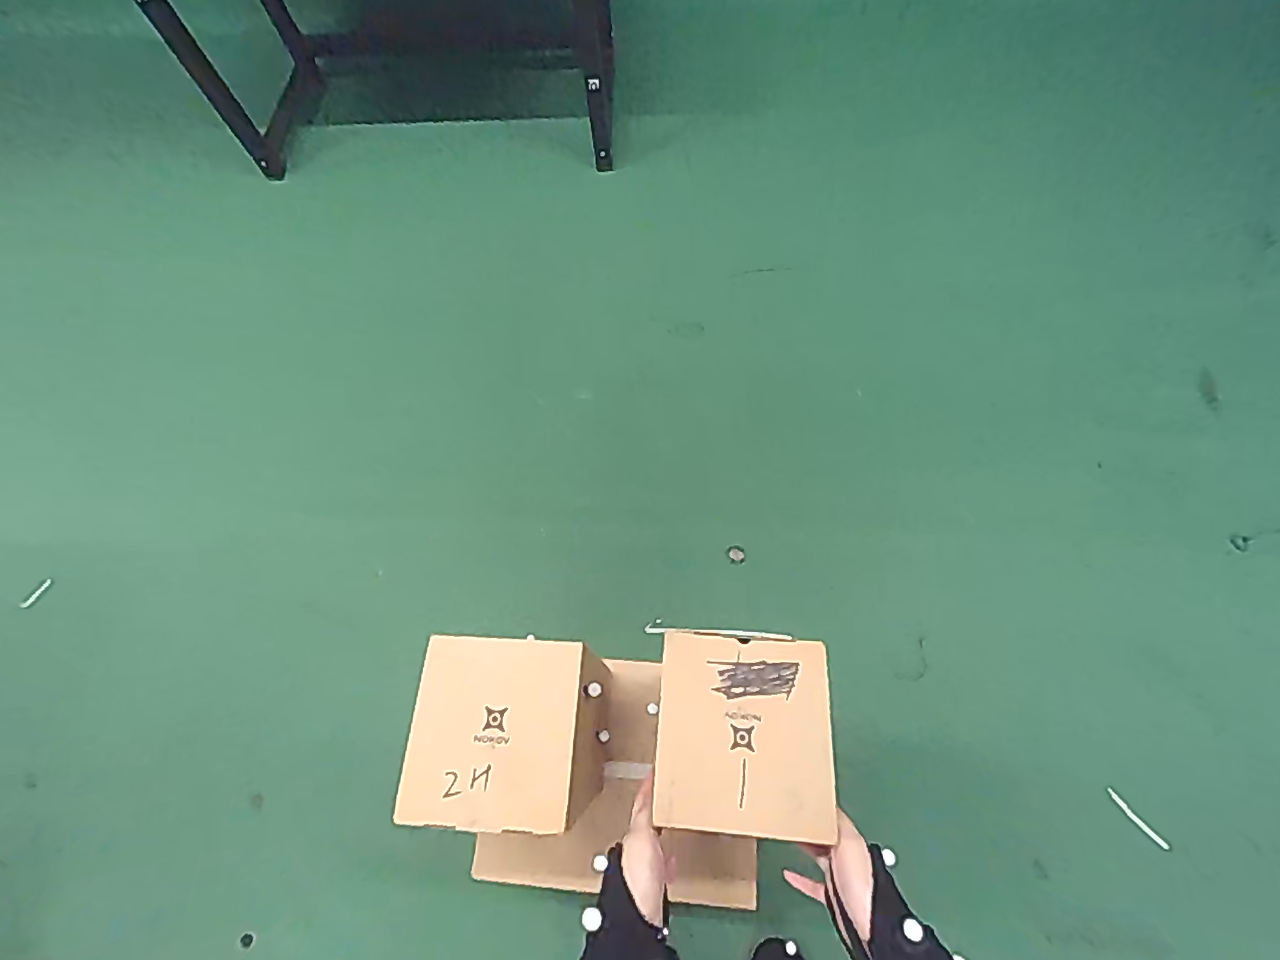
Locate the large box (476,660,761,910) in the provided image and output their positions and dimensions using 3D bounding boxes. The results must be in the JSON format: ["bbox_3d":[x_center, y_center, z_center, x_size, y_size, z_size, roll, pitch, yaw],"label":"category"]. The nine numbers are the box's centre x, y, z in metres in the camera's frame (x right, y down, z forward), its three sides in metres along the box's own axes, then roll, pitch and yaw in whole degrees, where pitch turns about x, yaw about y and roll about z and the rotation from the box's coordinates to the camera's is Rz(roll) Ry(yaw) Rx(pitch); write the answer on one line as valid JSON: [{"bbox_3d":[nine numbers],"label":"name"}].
[{"bbox_3d":[-0.021,0.499,0.938,0.408,0.320,0.320,3,66,4],"label":"large box"}]

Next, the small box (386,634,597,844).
[{"bbox_3d":[-0.143,0.279,0.597,0.168,0.176,0.179,2,65,4],"label":"small box"}]

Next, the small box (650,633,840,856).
[{"bbox_3d":[0.102,0.275,0.573,0.168,0.176,0.179,3,62,6],"label":"small box"}]

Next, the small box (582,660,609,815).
[{"bbox_3d":[-0.136,0.346,0.748,0.168,0.176,0.179,3,65,4],"label":"small box"}]
